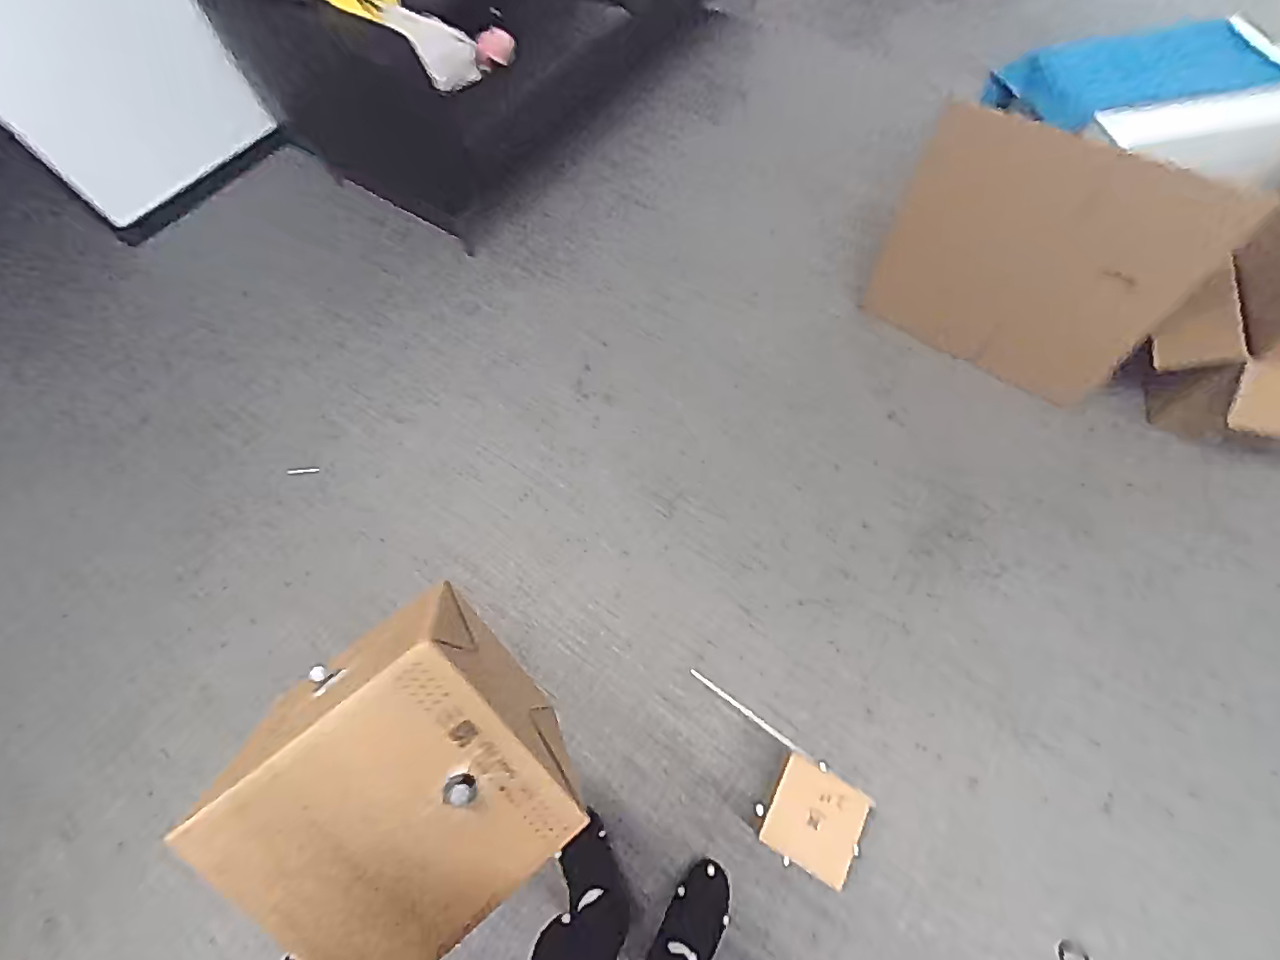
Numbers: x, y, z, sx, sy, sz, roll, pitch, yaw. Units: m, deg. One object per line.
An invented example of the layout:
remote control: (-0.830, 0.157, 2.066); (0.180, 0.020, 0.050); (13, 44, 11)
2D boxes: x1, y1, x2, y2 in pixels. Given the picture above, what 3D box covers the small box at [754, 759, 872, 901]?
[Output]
small box: (0.343, 0.699, 1.102); (0.168, 0.176, 0.179); (26, 67, 18)
